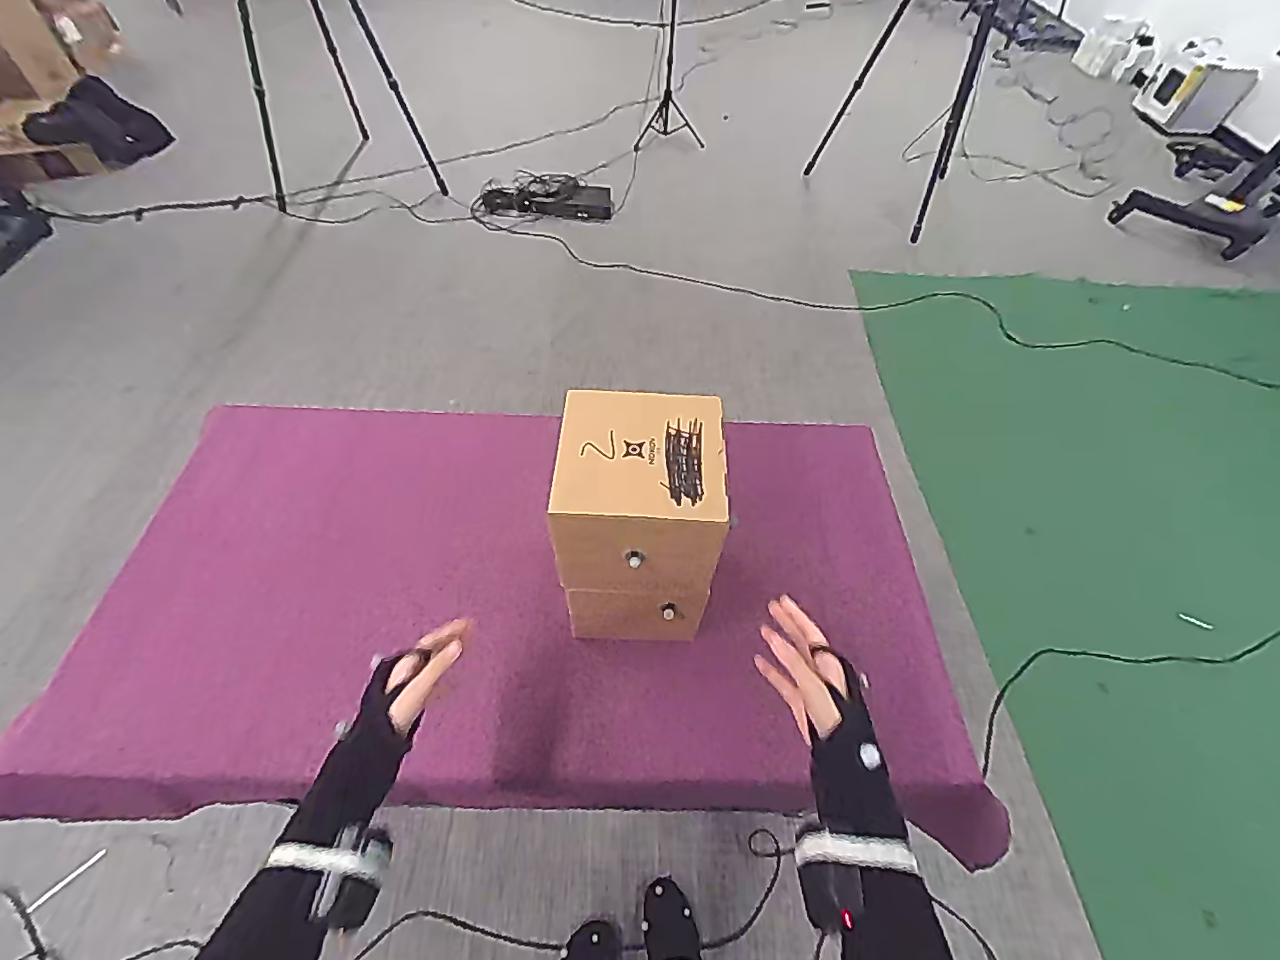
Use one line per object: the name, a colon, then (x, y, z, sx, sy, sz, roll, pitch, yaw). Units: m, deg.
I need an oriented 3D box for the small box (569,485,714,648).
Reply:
small box: (0.002, 0.126, 0.755, 0.179, 0.176, 0.168, 2, 53, 0)
